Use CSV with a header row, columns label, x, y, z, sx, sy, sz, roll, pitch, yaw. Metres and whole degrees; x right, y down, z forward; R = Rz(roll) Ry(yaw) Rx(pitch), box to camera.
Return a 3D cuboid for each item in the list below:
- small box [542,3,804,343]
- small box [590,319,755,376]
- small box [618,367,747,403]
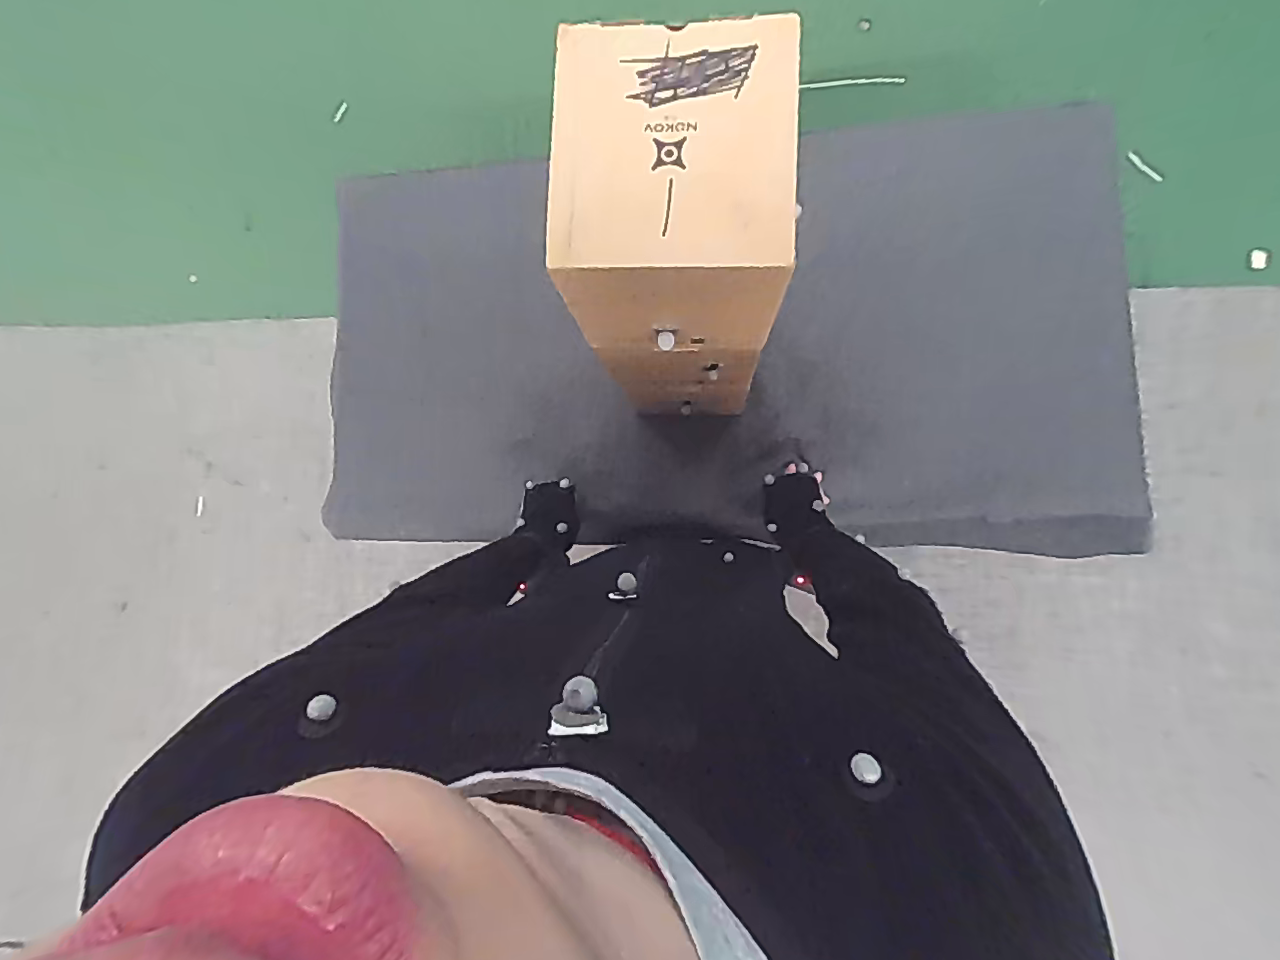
label,x,y,z,sx,sy,sz,roll,pitch,yaw
small box,0.028,-0.222,0.432,0.168,0.176,0.179,3,88,6
small box,0.043,-0.217,0.596,0.168,0.176,0.179,1,85,6
small box,0.066,-0.207,0.757,0.168,0.176,0.179,2,87,7
